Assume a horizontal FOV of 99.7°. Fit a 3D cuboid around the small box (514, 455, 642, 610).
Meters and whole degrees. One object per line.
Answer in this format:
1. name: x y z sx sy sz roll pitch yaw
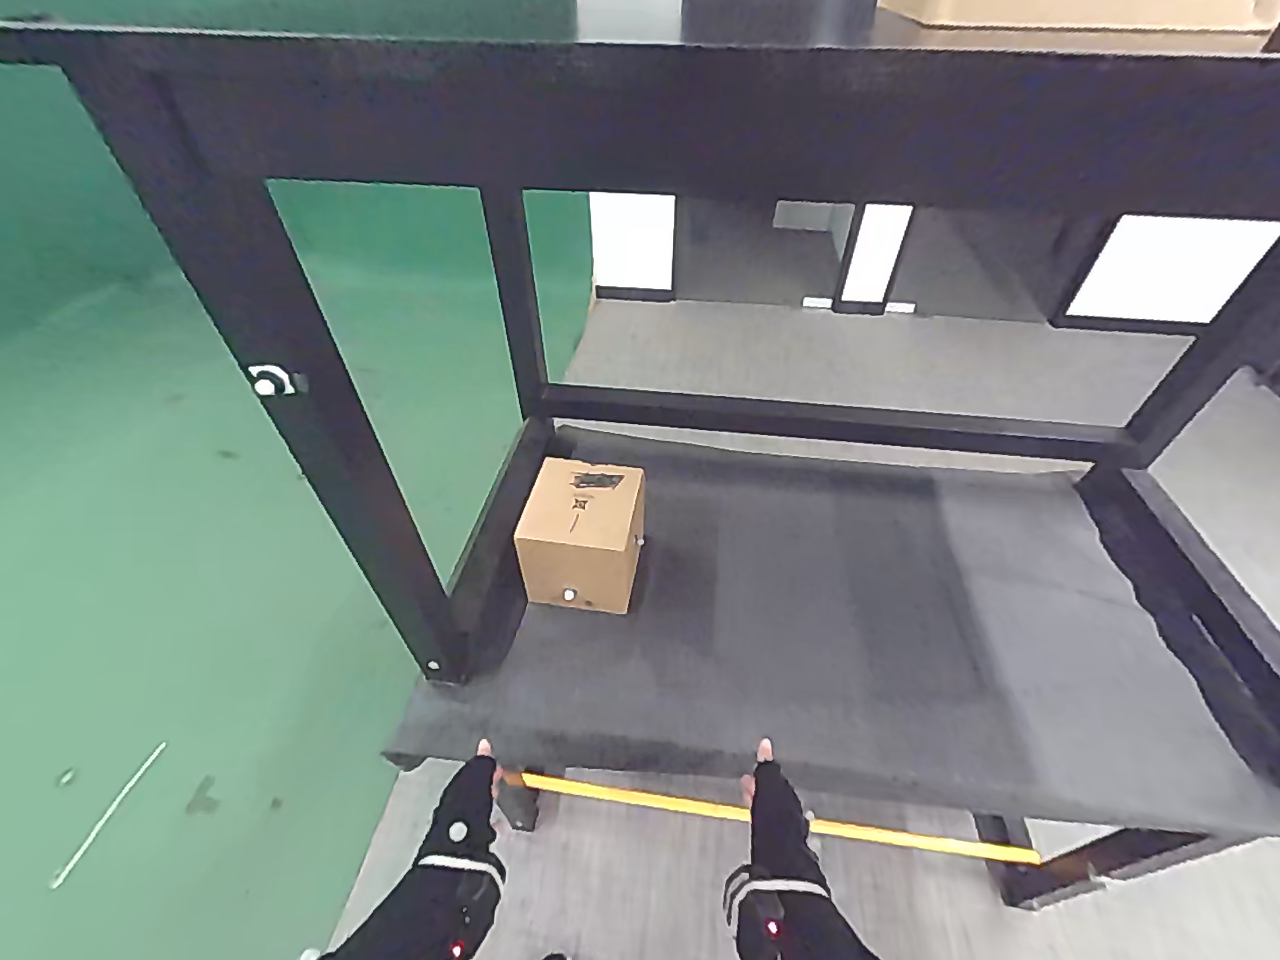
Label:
1. small box: -0.092 0.085 0.885 0.168 0.176 0.179 7 46 6
